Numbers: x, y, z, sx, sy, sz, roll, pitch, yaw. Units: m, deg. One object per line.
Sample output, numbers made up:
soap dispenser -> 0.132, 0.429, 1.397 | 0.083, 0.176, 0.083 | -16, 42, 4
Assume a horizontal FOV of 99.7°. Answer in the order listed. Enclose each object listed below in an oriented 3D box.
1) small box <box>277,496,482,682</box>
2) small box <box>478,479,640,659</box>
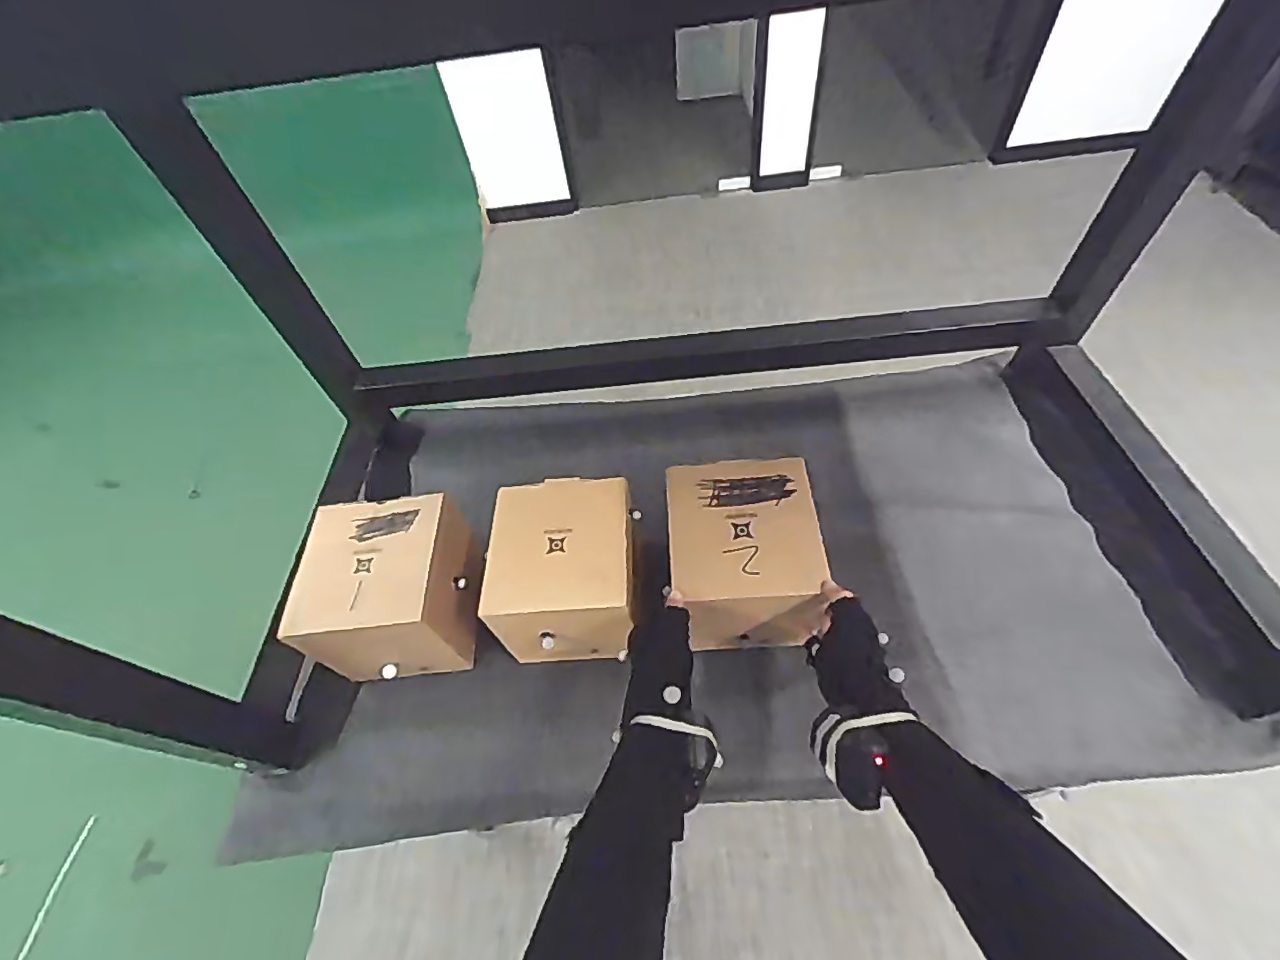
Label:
small box -> -0.316, 0.144, 0.703 | 0.168, 0.176, 0.179 | -7, 52, 3
small box -> -0.090, 0.122, 0.695 | 0.168, 0.176, 0.179 | -4, 52, 3
